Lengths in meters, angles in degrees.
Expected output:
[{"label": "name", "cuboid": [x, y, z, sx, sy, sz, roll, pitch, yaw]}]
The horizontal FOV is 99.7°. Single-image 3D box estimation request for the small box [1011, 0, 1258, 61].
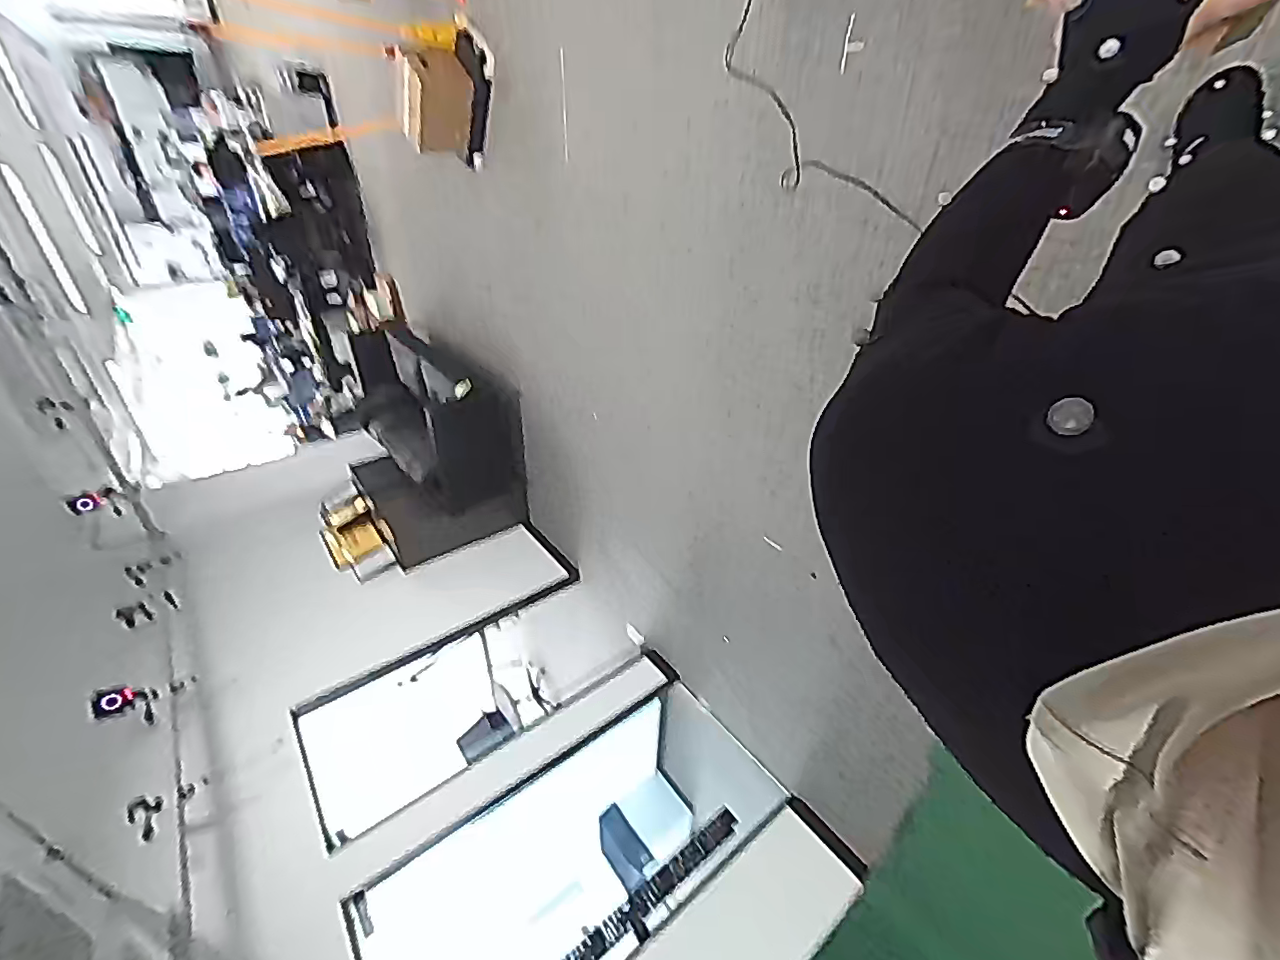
[{"label": "small box", "cuboid": [0.485, -0.504, 0.472, 0.168, 0.176, 0.179, 42, 148, 24]}]
